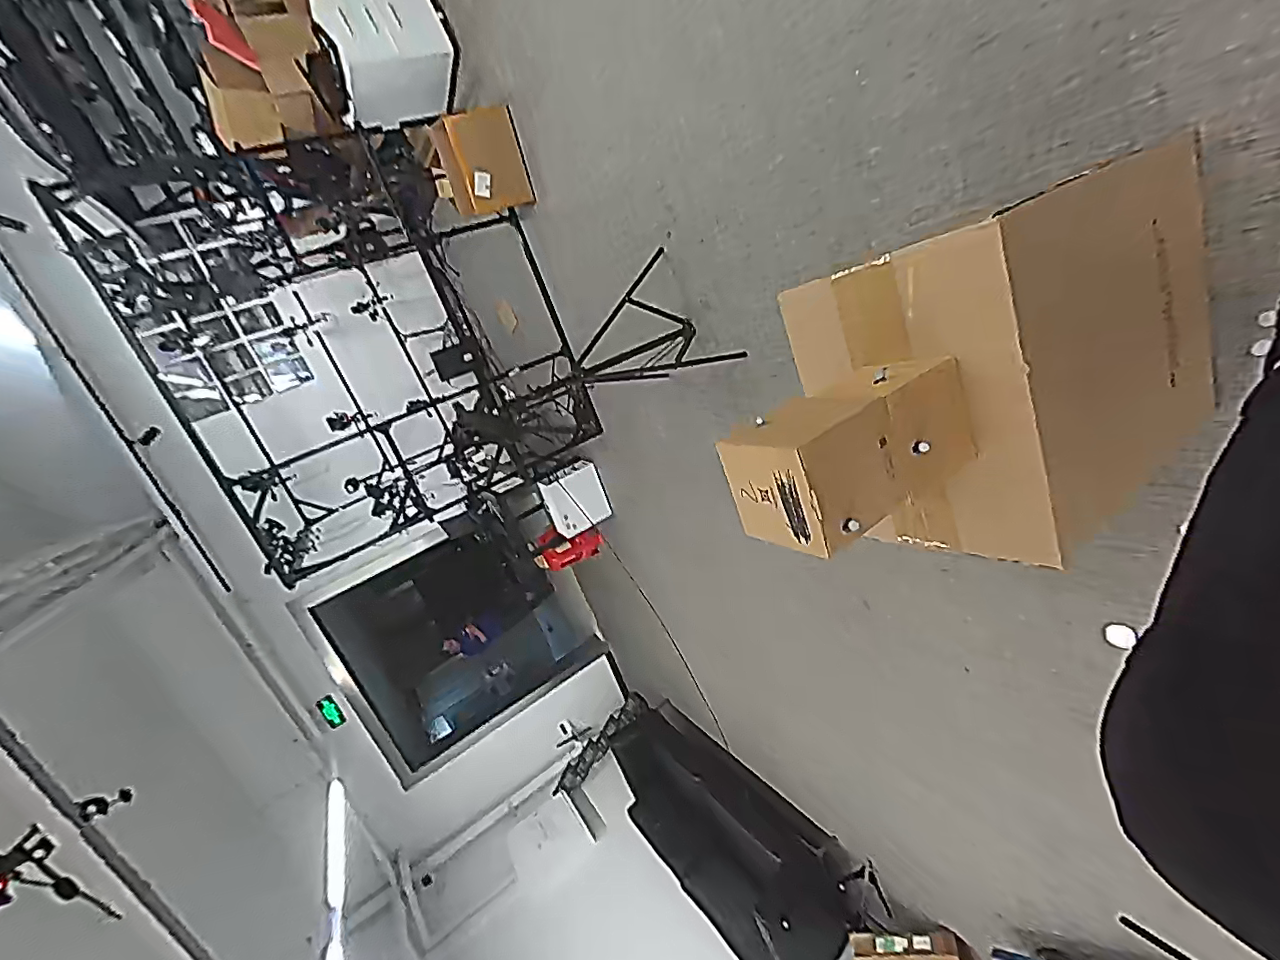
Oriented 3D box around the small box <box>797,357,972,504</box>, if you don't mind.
[{"bbox_3d":[0.386,-0.084,0.853,0.168,0.176,0.179,8,124,62],"label":"small box"}]
